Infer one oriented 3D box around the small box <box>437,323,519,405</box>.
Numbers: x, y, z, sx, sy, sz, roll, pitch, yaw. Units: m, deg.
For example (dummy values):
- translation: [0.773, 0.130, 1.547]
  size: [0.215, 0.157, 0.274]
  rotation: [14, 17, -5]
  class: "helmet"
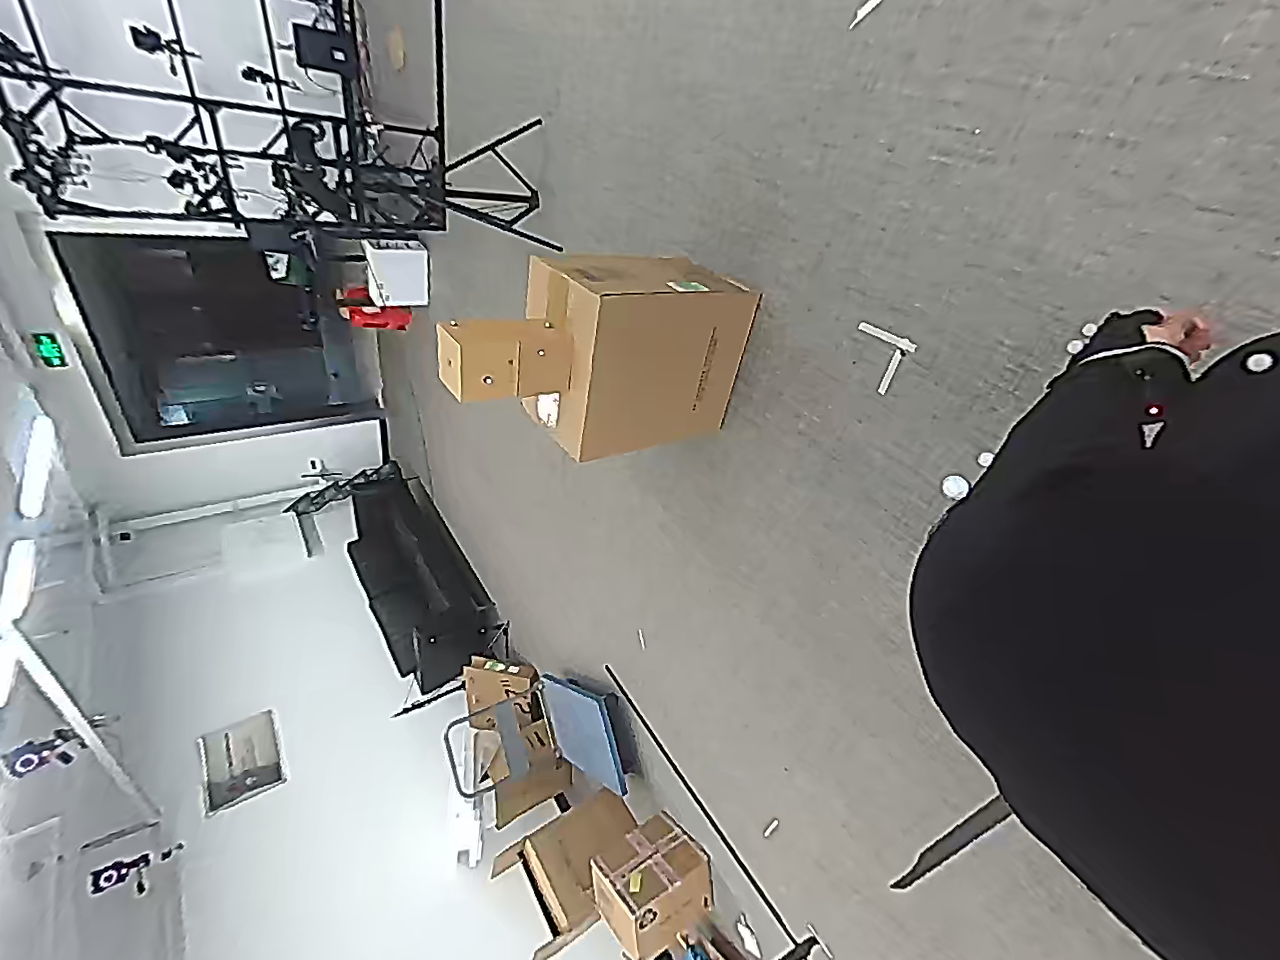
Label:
- translation: [-0.443, -0.326, 1.489]
  size: [0.179, 0.176, 0.168]
  rotation: [42, 135, 40]
  class: "small box"
